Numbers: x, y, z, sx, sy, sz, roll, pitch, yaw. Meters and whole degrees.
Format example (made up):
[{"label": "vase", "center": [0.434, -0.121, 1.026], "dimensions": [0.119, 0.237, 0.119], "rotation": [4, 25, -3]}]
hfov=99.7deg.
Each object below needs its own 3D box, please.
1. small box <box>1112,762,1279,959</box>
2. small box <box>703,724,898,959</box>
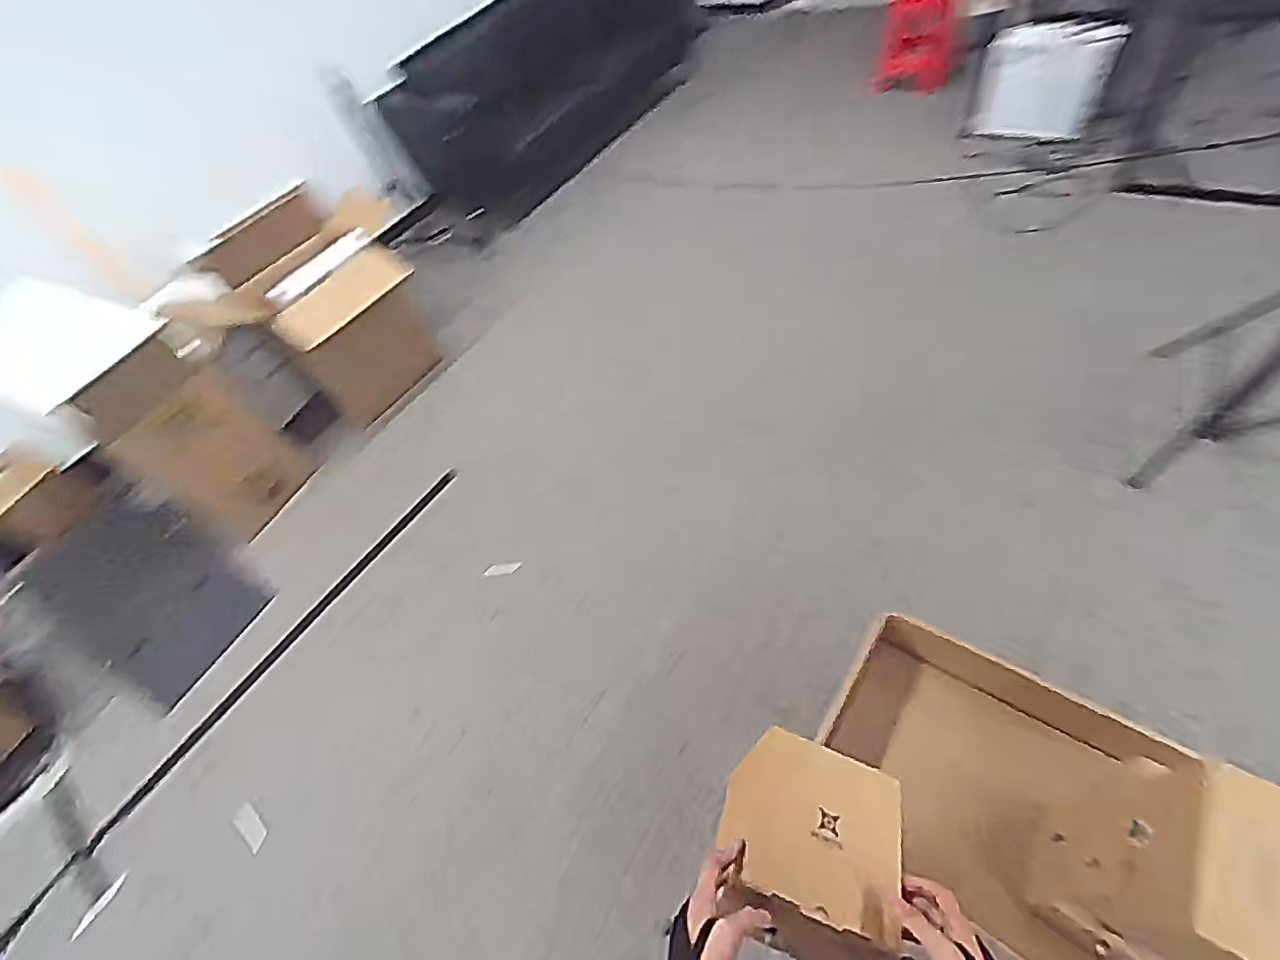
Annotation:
[{"label": "small box", "center": [0.615, 0.409, 0.523], "dimensions": [0.179, 0.176, 0.168], "rotation": [23, 63, 28]}, {"label": "small box", "center": [0.188, 0.438, 0.651], "dimensions": [0.168, 0.176, 0.179], "rotation": [21, 43, 7]}]
